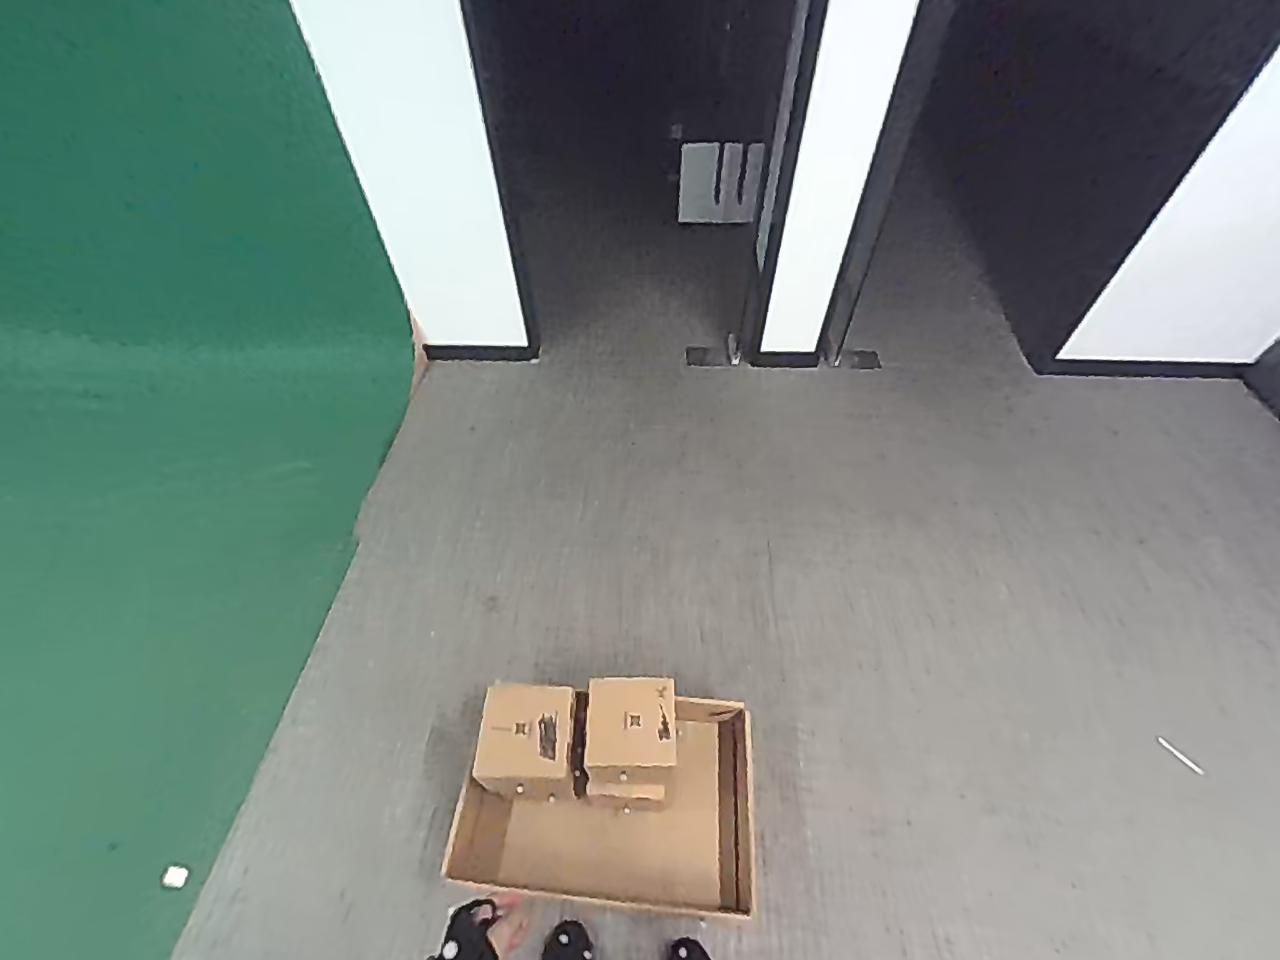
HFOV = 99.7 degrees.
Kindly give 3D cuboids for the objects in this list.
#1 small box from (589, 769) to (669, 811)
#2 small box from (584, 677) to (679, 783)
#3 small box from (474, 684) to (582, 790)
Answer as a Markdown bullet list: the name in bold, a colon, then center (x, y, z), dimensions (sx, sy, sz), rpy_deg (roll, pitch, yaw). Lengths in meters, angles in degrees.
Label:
- **small box**: center (-0.015, 0.632, 1.228), dimensions (0.168, 0.176, 0.179), rpy_deg (2, 52, 6)
- **small box**: center (-0.011, 0.515, 1.111), dimensions (0.179, 0.176, 0.168), rpy_deg (-1, 51, 3)
- **small box**: center (-0.217, 0.528, 1.106), dimensions (0.179, 0.176, 0.168), rpy_deg (0, 52, 2)
